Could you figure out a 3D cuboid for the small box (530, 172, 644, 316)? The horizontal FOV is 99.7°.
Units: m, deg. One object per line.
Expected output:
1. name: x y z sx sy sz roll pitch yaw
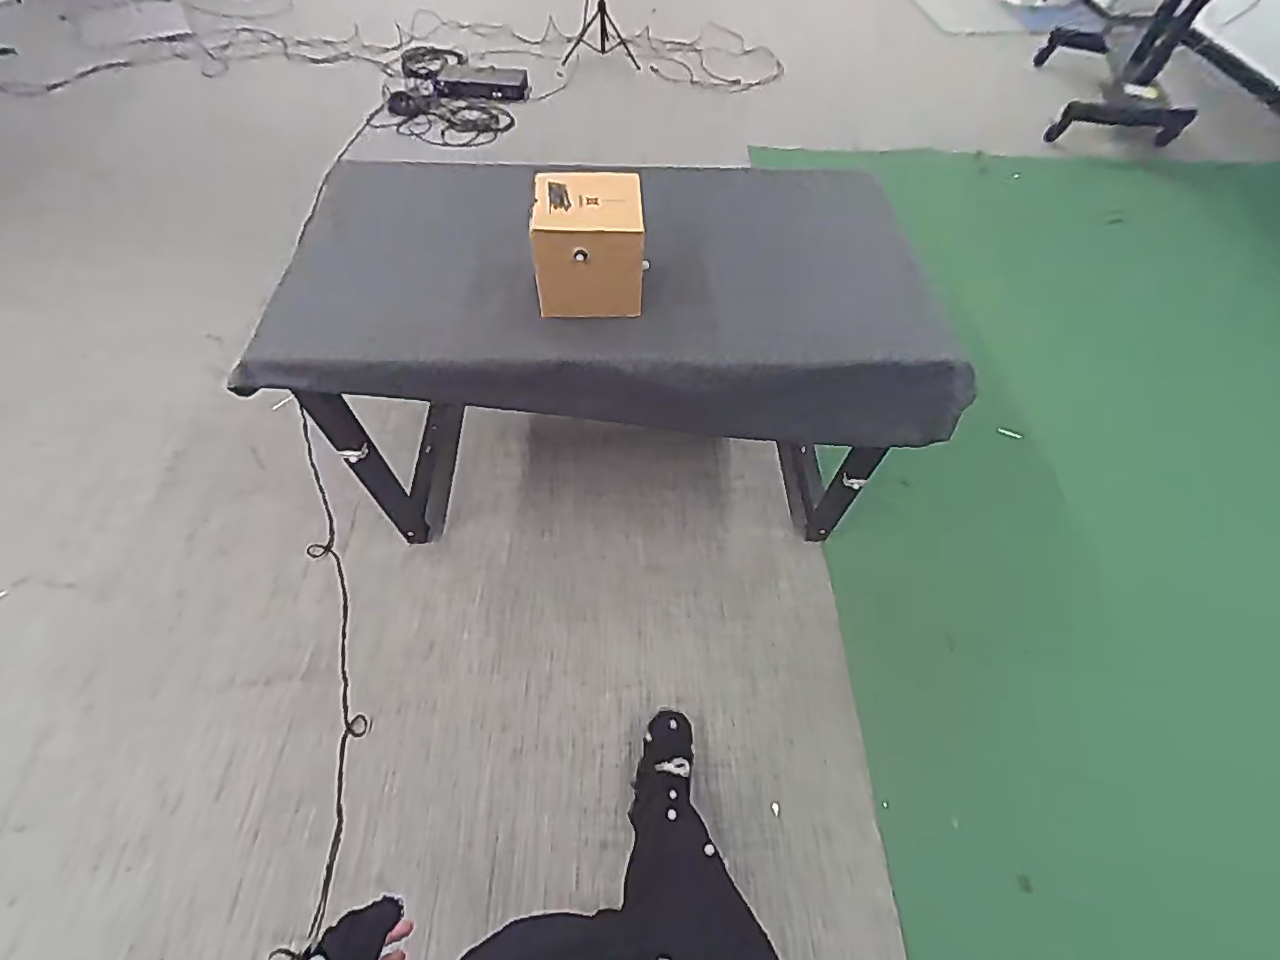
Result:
1. small box: -0.083 -0.400 0.928 0.179 0.176 0.168 -1 58 -2
